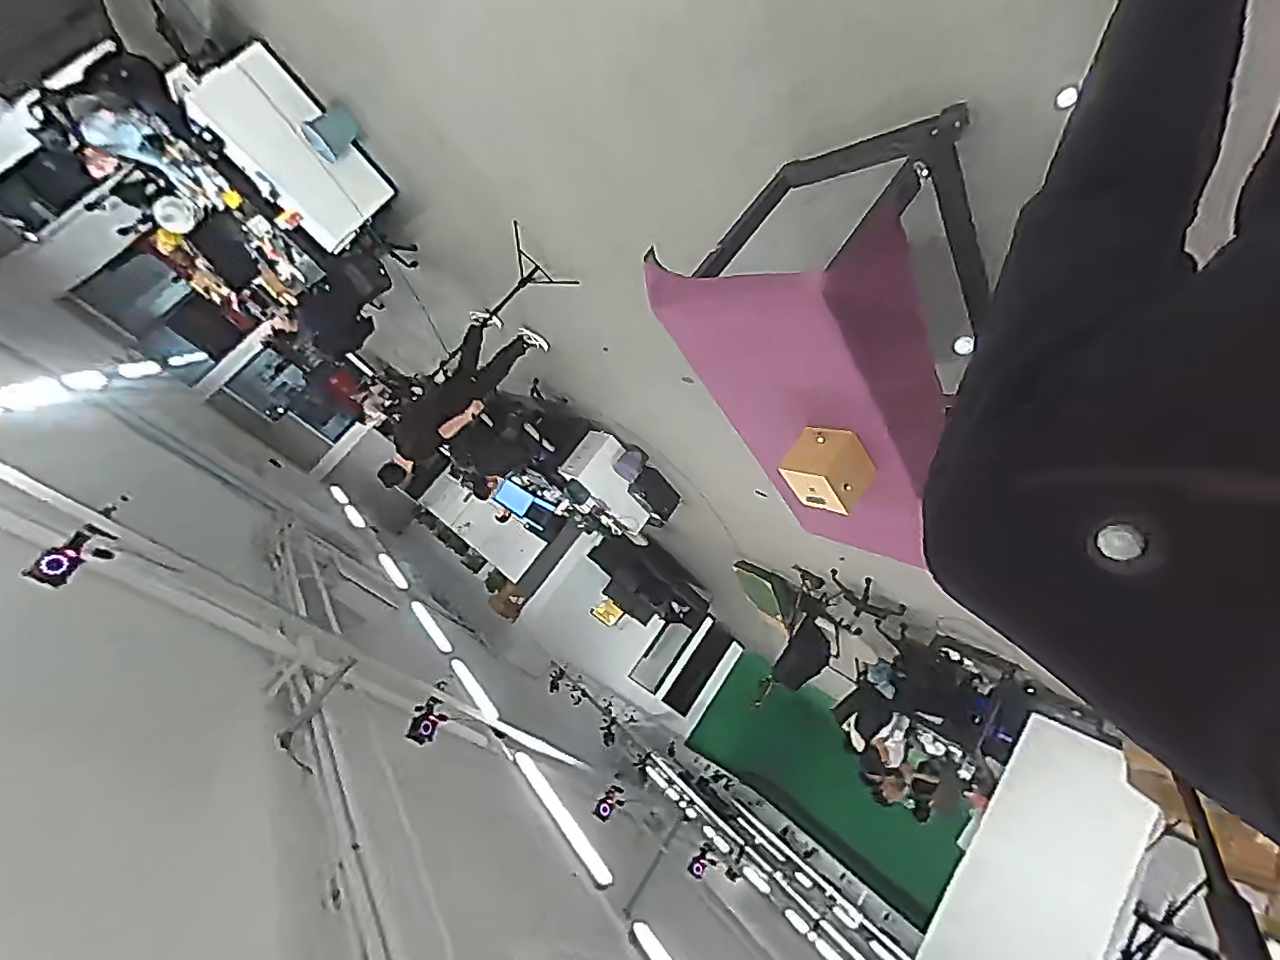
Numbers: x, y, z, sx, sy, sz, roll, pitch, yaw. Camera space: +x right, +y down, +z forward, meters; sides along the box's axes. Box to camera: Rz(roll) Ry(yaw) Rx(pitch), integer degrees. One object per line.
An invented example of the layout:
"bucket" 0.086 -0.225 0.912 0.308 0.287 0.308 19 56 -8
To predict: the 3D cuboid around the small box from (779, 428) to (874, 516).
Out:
"small box" 0.546 -0.026 1.569 0.179 0.176 0.168 46 163 -30
